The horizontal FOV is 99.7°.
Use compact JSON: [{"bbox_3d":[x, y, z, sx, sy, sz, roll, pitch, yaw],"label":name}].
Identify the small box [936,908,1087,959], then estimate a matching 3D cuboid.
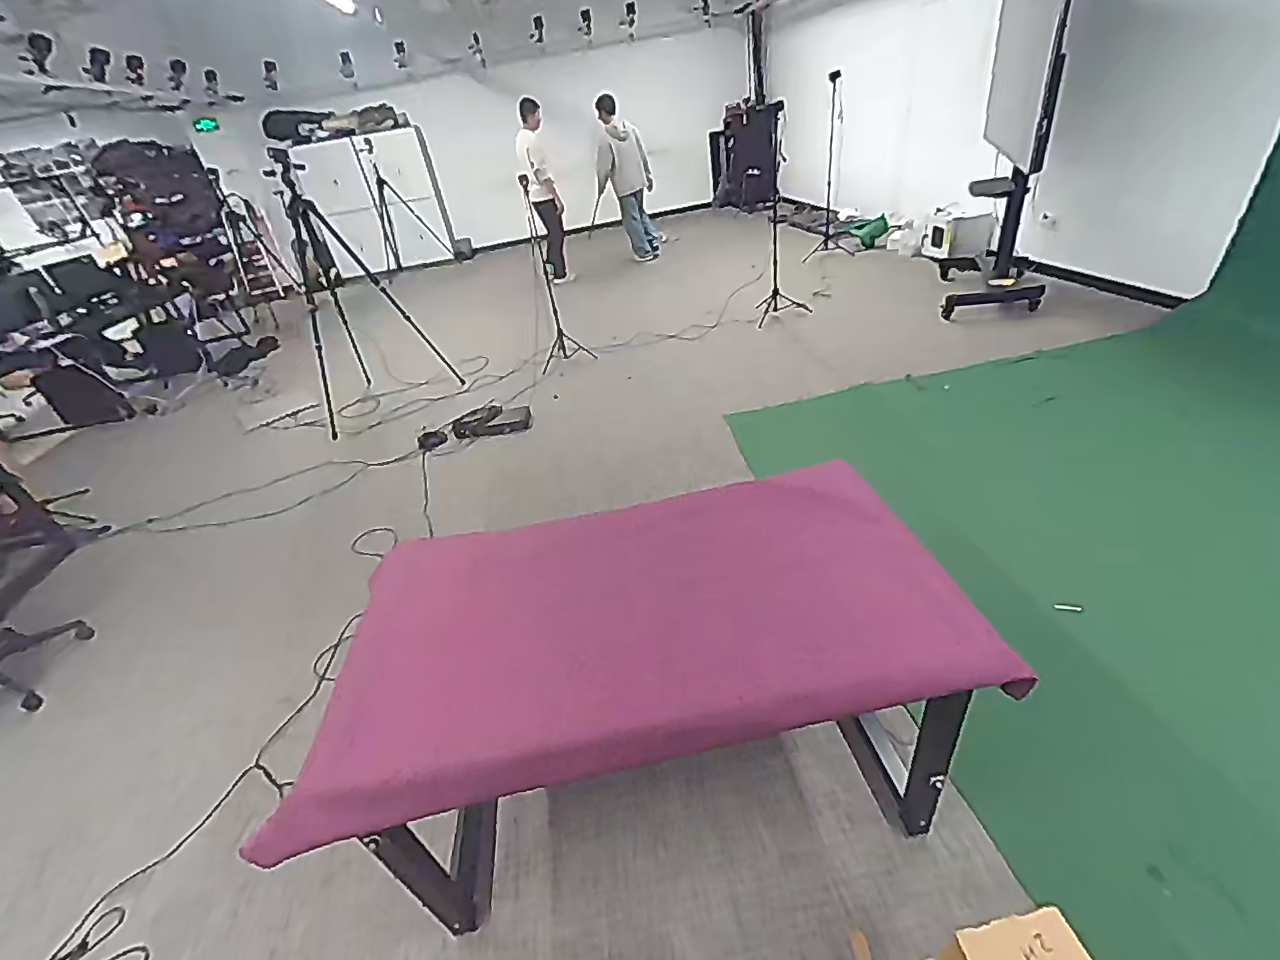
[{"bbox_3d":[0.566,0.771,0.786,0.168,0.176,0.179,-11,35,-3],"label":"small box"}]
